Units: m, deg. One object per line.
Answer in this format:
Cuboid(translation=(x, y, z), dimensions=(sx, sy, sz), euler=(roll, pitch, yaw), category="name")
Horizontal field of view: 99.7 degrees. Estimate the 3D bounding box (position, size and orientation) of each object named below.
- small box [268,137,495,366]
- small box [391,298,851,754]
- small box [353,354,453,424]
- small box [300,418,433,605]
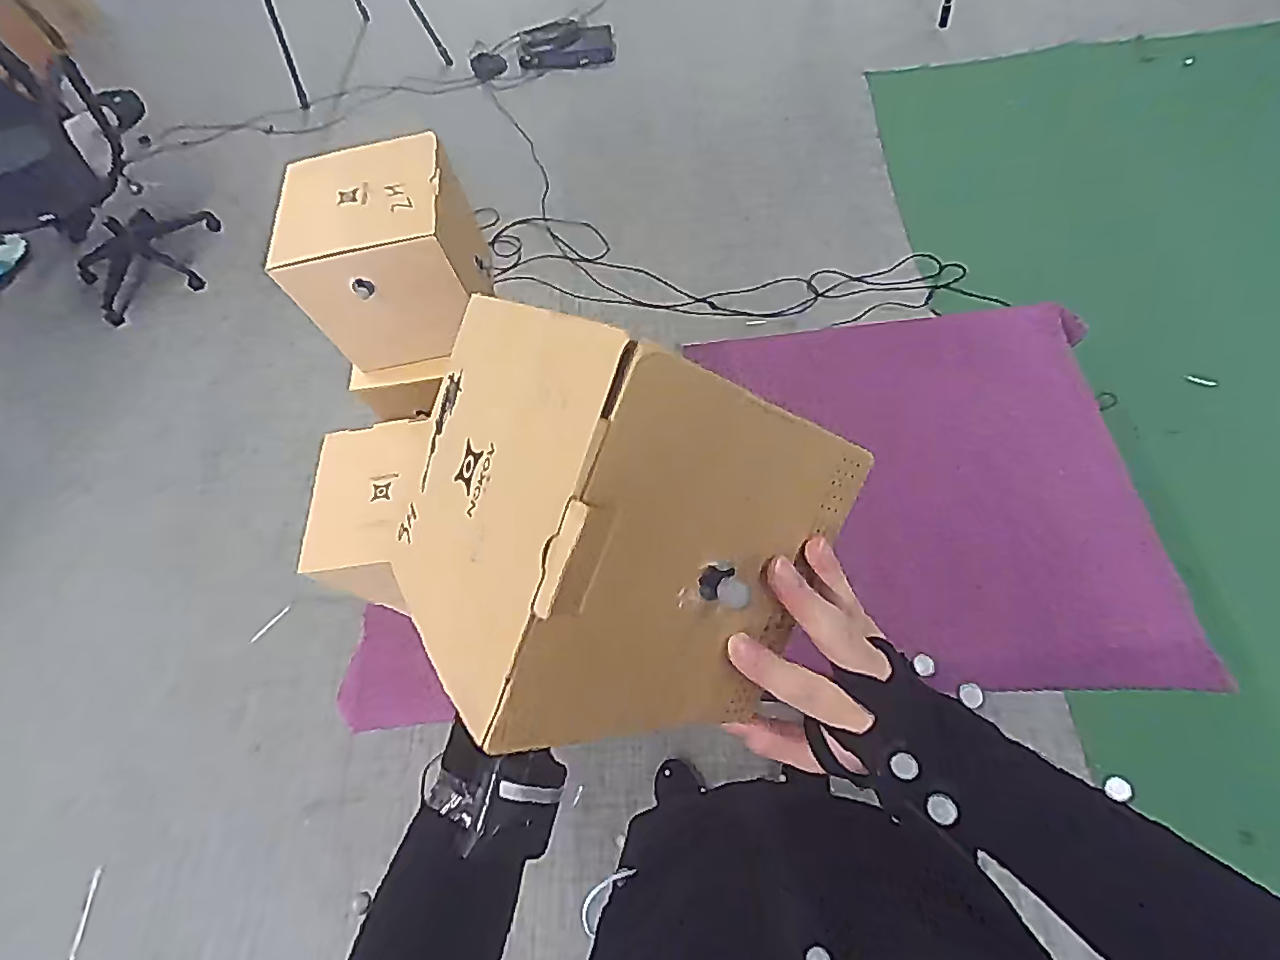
Cuboid(translation=(-0.283, -0.255, 0.634), dimensions=(0.179, 0.176, 0.168), euler=(-11, 64, 2), category="small box")
Cuboid(translation=(-0.016, 0.016, 0.309), dimensions=(0.179, 0.176, 0.168), euler=(33, 104, 48), category="small box")
Cuboid(translation=(-0.275, -0.161, 0.771), dimensions=(0.168, 0.176, 0.179), euler=(-8, 64, 3), category="small box")
Cuboid(translation=(-0.276, 0.044, 0.673), dimensions=(0.168, 0.176, 0.179), euler=(-7, 64, 4), category="small box")
